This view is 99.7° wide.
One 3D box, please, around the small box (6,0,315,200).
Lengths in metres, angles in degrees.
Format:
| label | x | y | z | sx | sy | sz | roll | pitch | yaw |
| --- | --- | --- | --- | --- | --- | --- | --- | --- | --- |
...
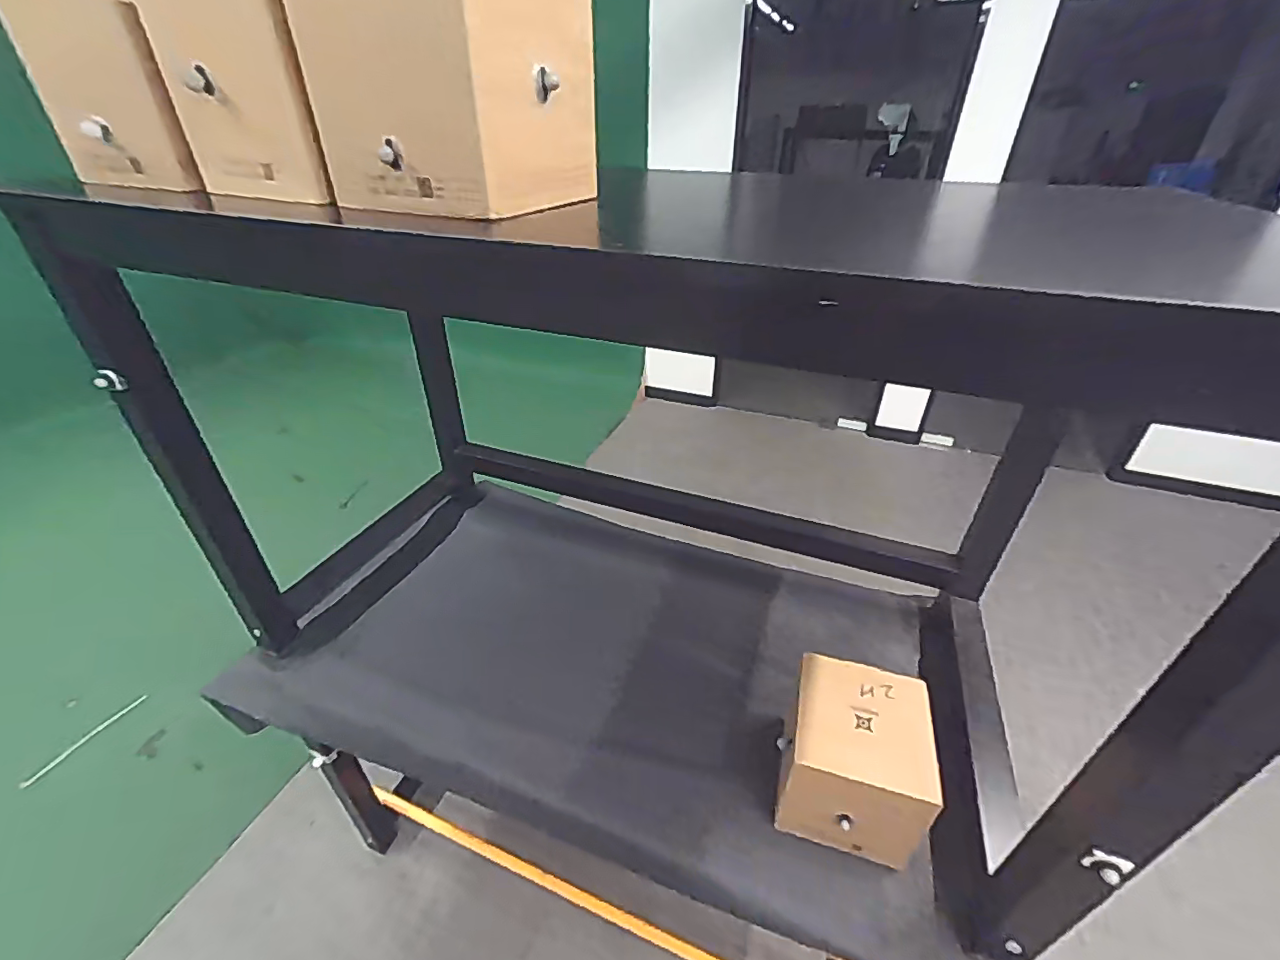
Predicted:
| label | x | y | z | sx | sy | sz | roll | pitch | yaw |
| --- | --- | --- | --- | --- | --- | --- | --- | --- | --- |
| small box | -0.490 | -0.412 | 0.584 | 0.168 | 0.176 | 0.179 | 13 | 37 | 16 |

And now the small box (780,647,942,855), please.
| label | x | y | z | sx | sy | sz | roll | pitch | yaw |
| --- | --- | --- | --- | --- | --- | --- | --- | --- | --- |
| small box | 0.292 | 0.369 | 0.742 | 0.168 | 0.176 | 0.179 | 11 | 35 | 14 |
